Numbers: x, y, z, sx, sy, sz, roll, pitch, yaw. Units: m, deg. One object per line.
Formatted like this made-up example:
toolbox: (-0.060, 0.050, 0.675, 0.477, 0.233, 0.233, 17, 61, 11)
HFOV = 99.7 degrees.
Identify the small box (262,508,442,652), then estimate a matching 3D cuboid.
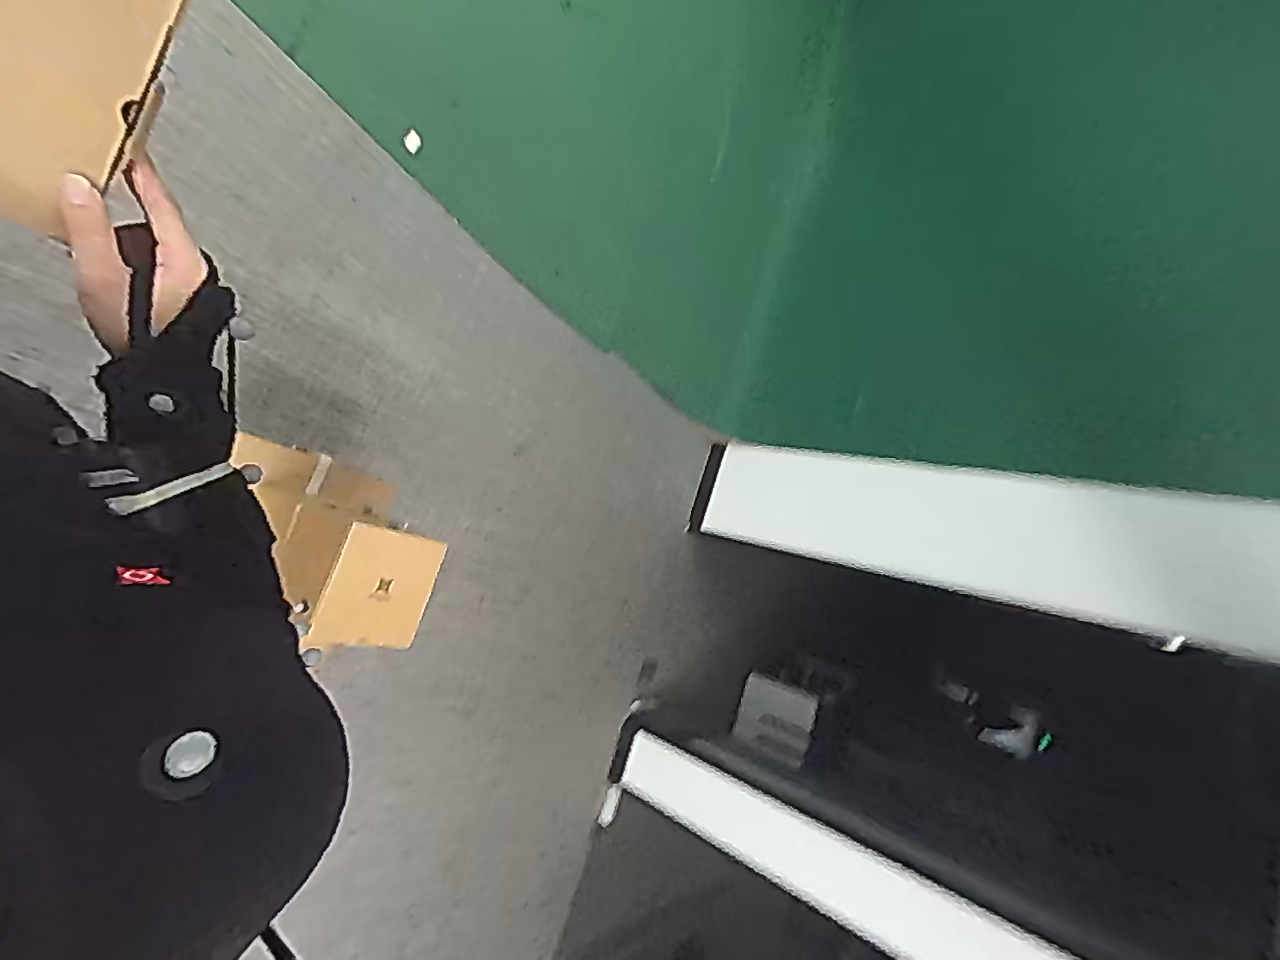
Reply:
small box: (-0.454, 0.154, 0.851, 0.168, 0.176, 0.179, 30, 76, -52)
